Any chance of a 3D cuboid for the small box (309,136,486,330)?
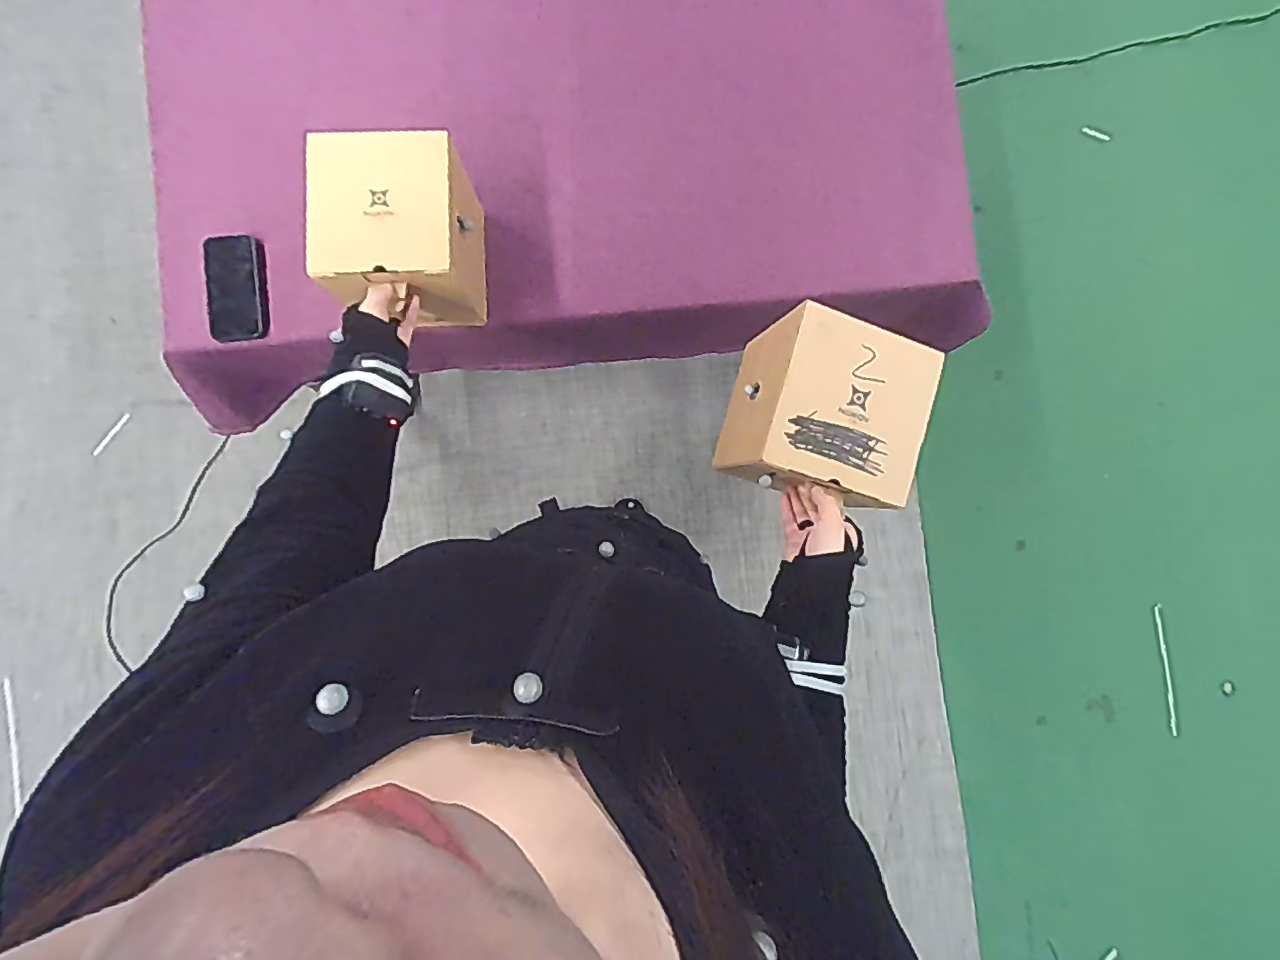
[{"bbox_3d":[-0.304,-0.312,0.710,0.168,0.176,0.179,-2,85,-3],"label":"small box"}]
